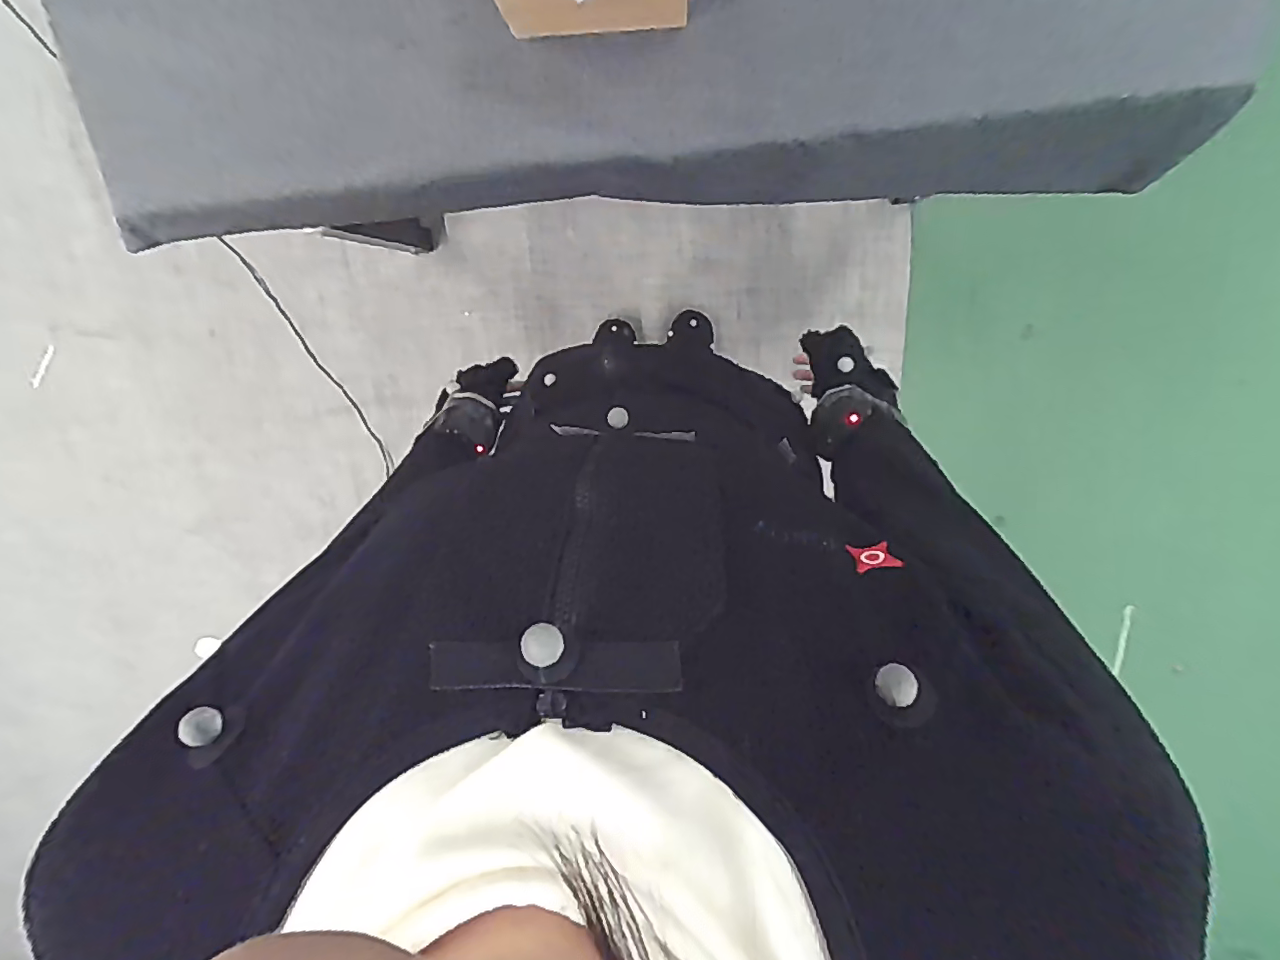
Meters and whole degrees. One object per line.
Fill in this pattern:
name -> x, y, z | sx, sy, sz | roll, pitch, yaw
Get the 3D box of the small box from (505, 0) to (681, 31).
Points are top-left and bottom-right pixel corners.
small box -> -0.044, -0.507, 0.441 | 0.179, 0.176, 0.168 | -2, 108, 4
